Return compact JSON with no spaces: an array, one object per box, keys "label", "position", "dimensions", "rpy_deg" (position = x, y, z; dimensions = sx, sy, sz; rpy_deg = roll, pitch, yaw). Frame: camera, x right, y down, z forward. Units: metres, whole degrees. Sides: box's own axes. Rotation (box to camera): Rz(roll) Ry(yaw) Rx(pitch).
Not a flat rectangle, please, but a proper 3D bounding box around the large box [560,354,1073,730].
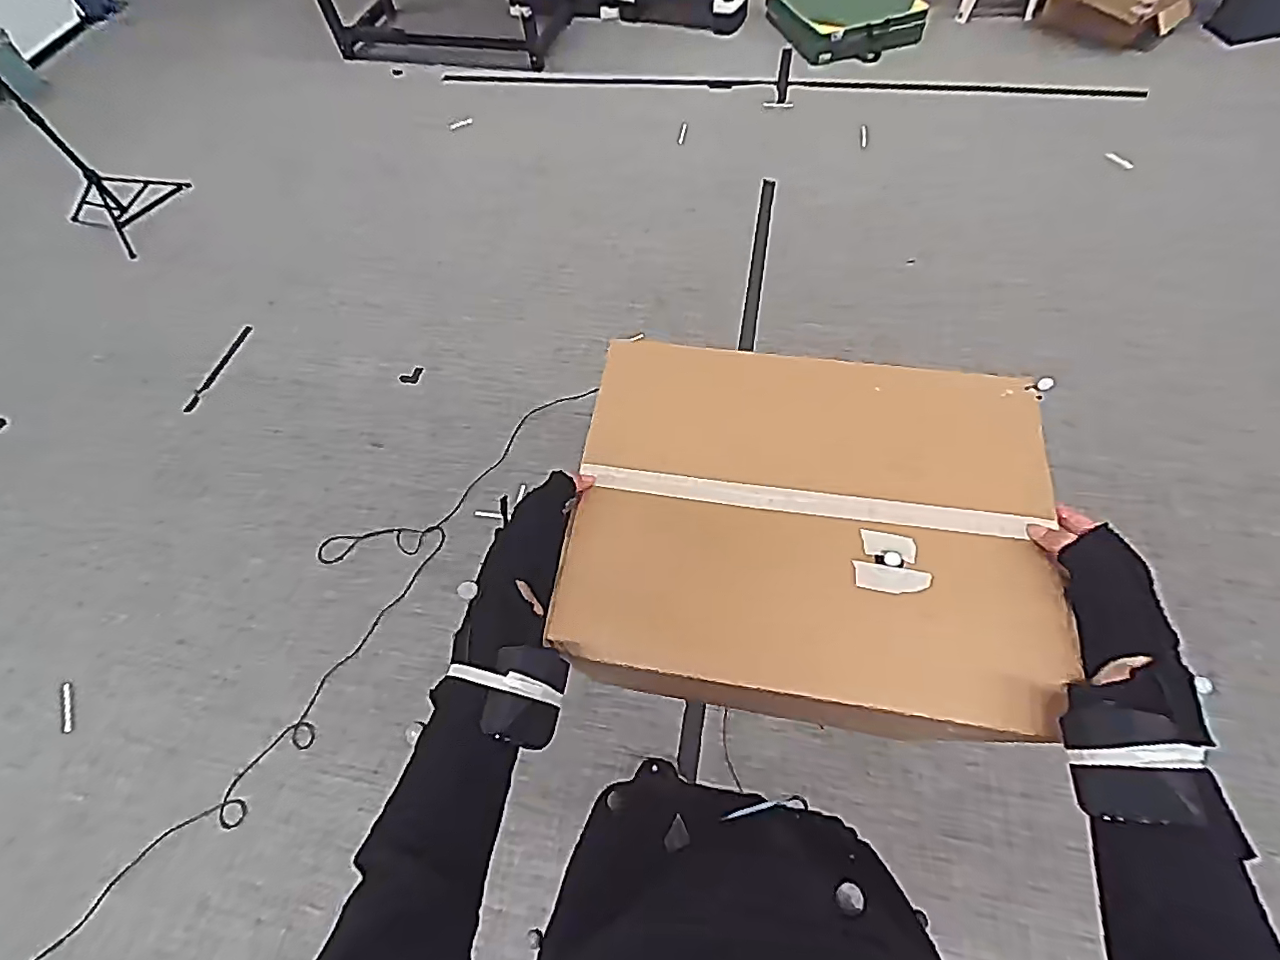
[{"label":"large box","position":[0.155,0.088,0.617],"dimensions":[0.408,0.320,0.320],"rpy_deg":[7,67,6]}]
